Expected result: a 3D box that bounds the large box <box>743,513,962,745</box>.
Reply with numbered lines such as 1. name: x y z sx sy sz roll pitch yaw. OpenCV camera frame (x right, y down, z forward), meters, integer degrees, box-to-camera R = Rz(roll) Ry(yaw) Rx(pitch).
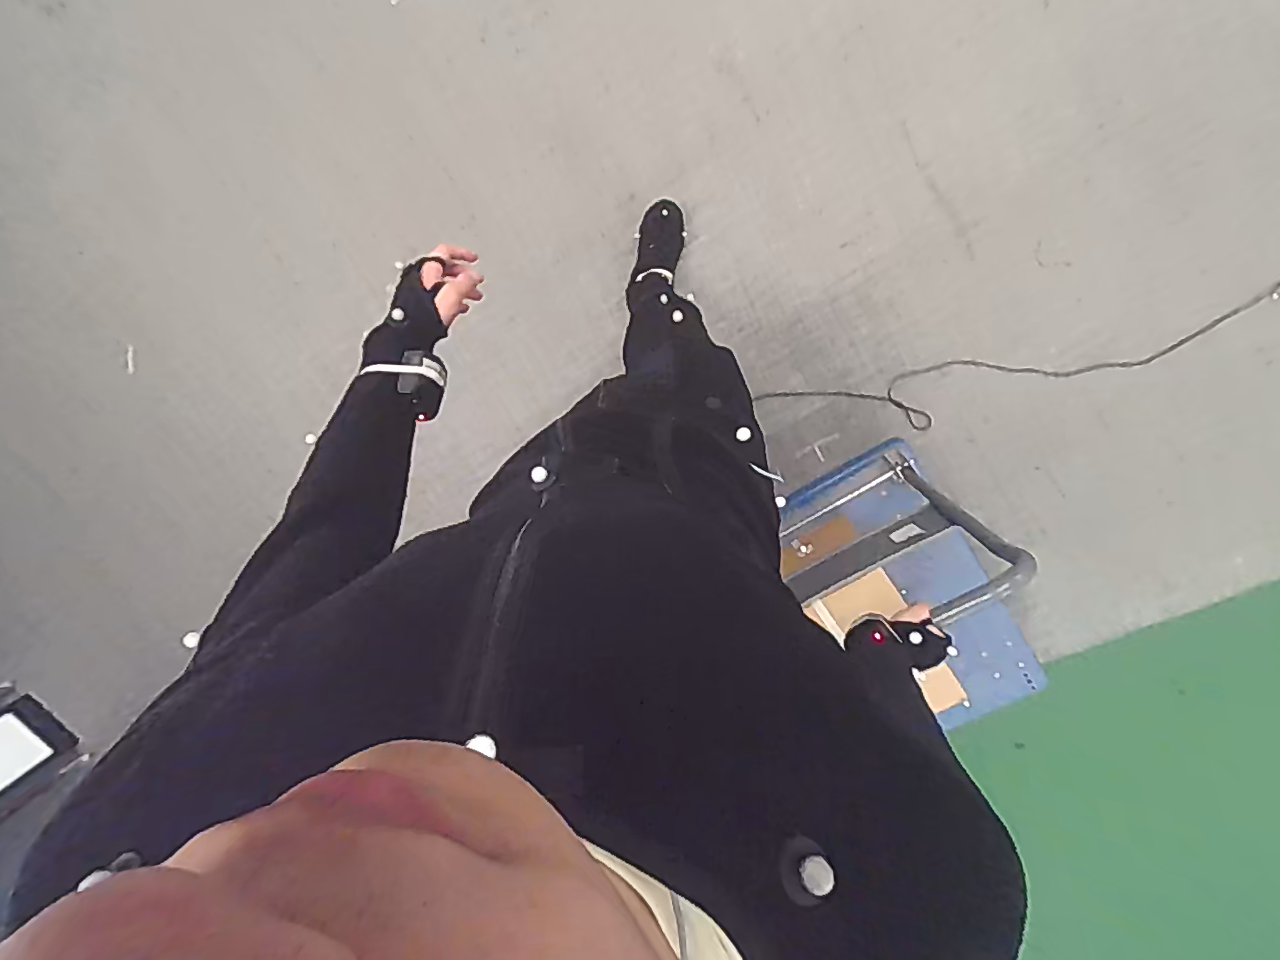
1. large box: 0.508 0.361 1.370 0.320 0.320 0.408 -34 103 15
